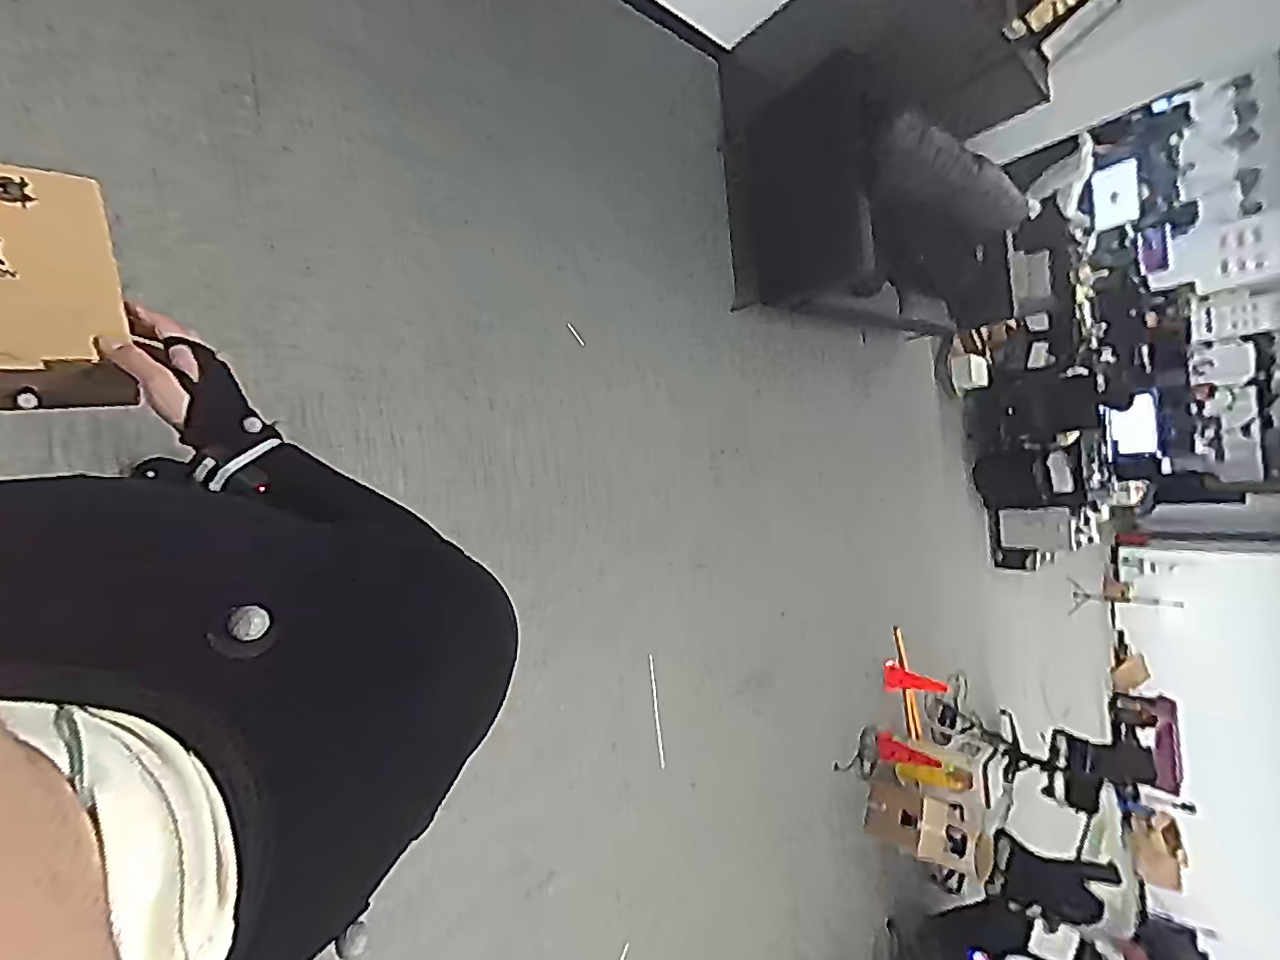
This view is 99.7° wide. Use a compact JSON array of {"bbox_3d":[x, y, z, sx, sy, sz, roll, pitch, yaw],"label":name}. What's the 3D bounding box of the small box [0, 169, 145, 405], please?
[{"bbox_3d":[-0.597,-0.170,0.513,0.168,0.176,0.179,-13,92,-42],"label":"small box"}]
